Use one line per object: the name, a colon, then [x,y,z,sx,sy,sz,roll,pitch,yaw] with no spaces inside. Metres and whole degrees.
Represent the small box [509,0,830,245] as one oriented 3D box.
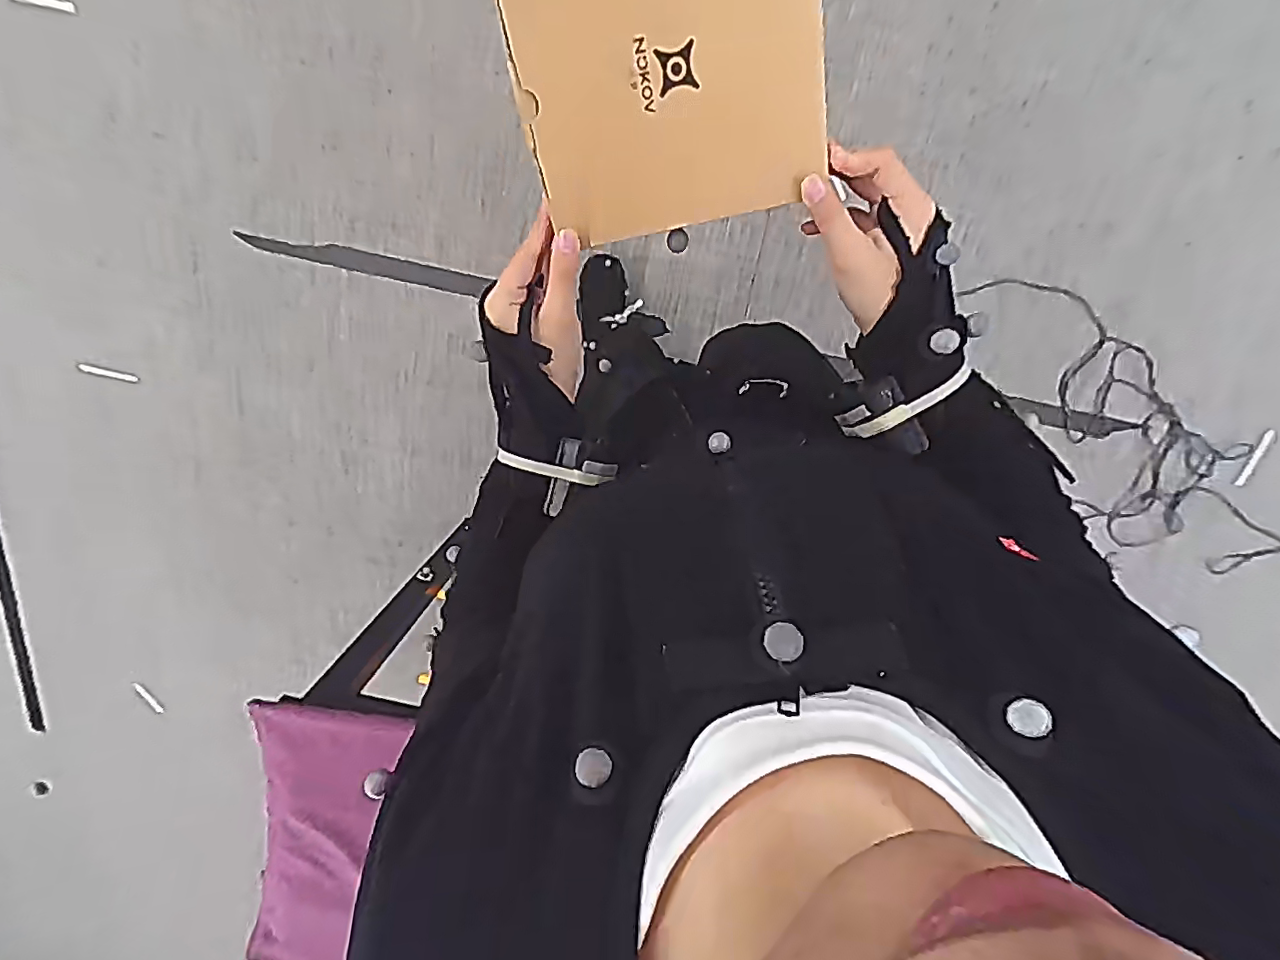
small box: [0.021,-0.278,0.384,0.179,0.176,0.168,-9,118,6]
